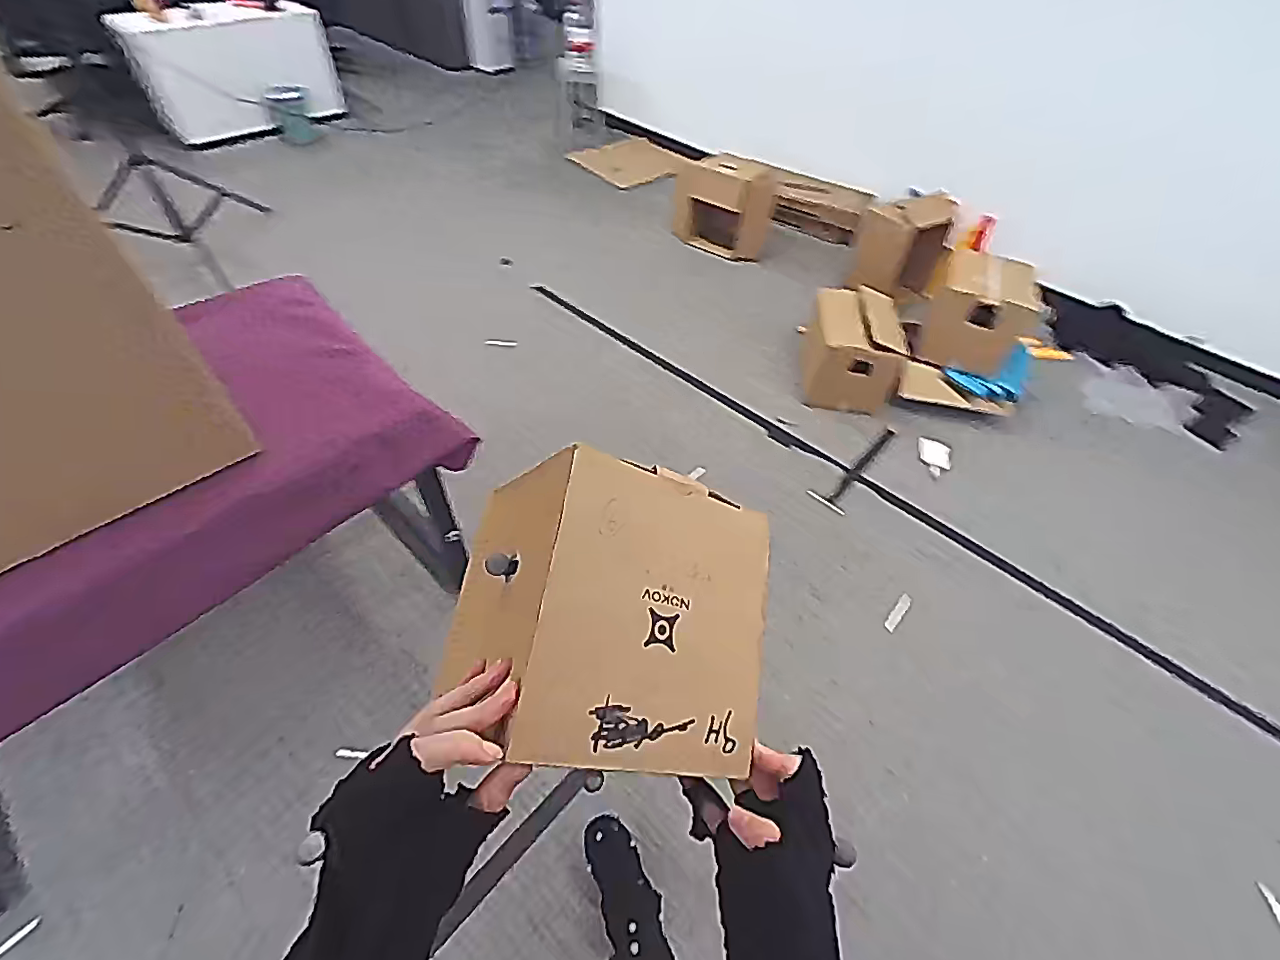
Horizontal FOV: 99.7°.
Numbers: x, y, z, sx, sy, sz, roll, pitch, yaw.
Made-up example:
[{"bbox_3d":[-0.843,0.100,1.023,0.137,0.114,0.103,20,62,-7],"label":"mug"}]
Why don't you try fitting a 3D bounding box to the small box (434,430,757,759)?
[{"bbox_3d":[-0.035,0.092,0.396,0.168,0.176,0.179,20,66,-29],"label":"small box"}]
